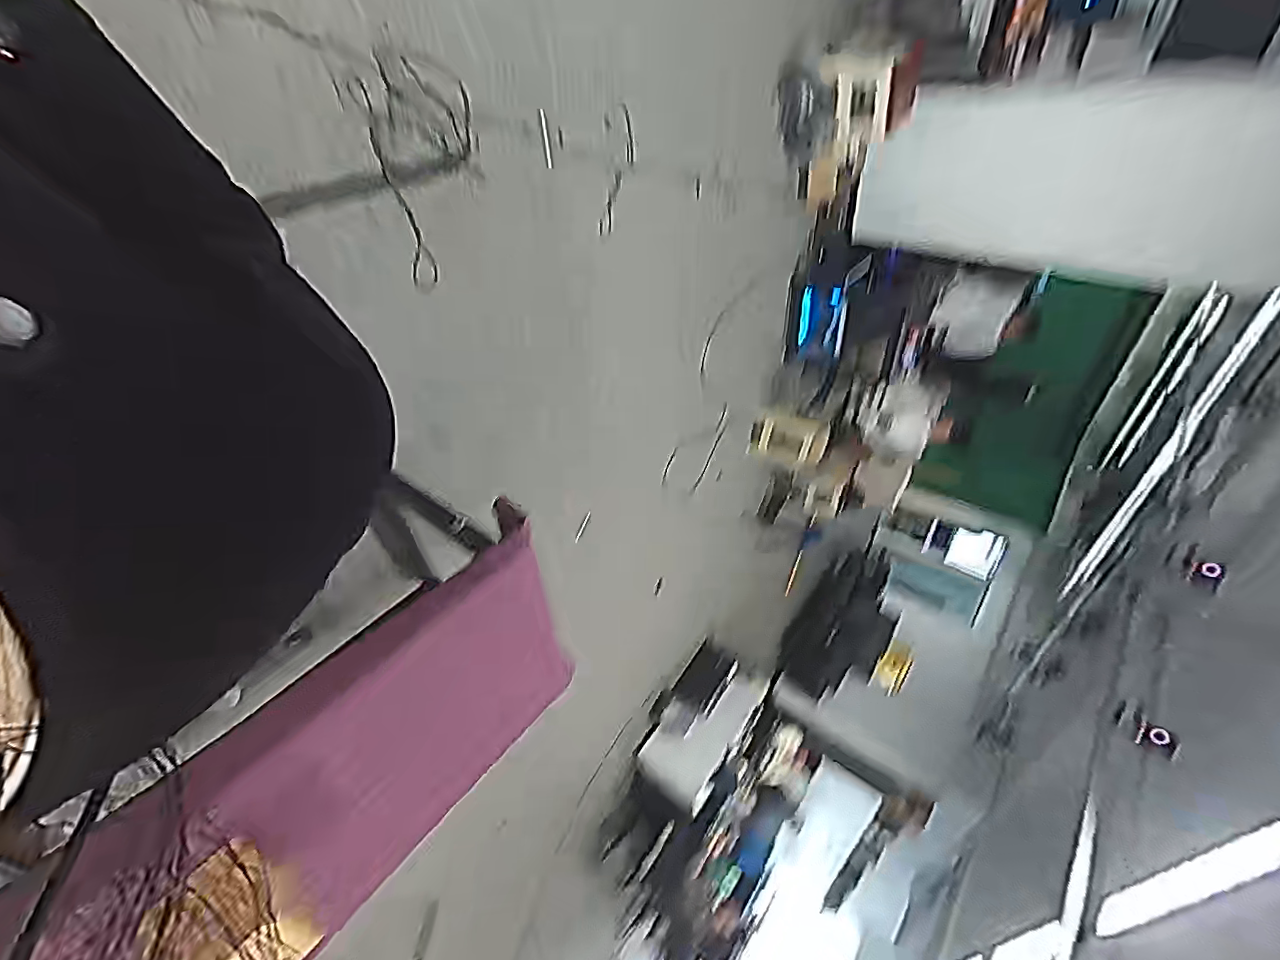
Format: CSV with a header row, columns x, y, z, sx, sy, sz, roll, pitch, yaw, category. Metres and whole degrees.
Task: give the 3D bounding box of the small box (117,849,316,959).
x,y,z,sx,sy,sz,roll,pitch,yaw,category
-0.671,0.739,0.865,0.168,0.176,0.179,-41,143,-35,small box
